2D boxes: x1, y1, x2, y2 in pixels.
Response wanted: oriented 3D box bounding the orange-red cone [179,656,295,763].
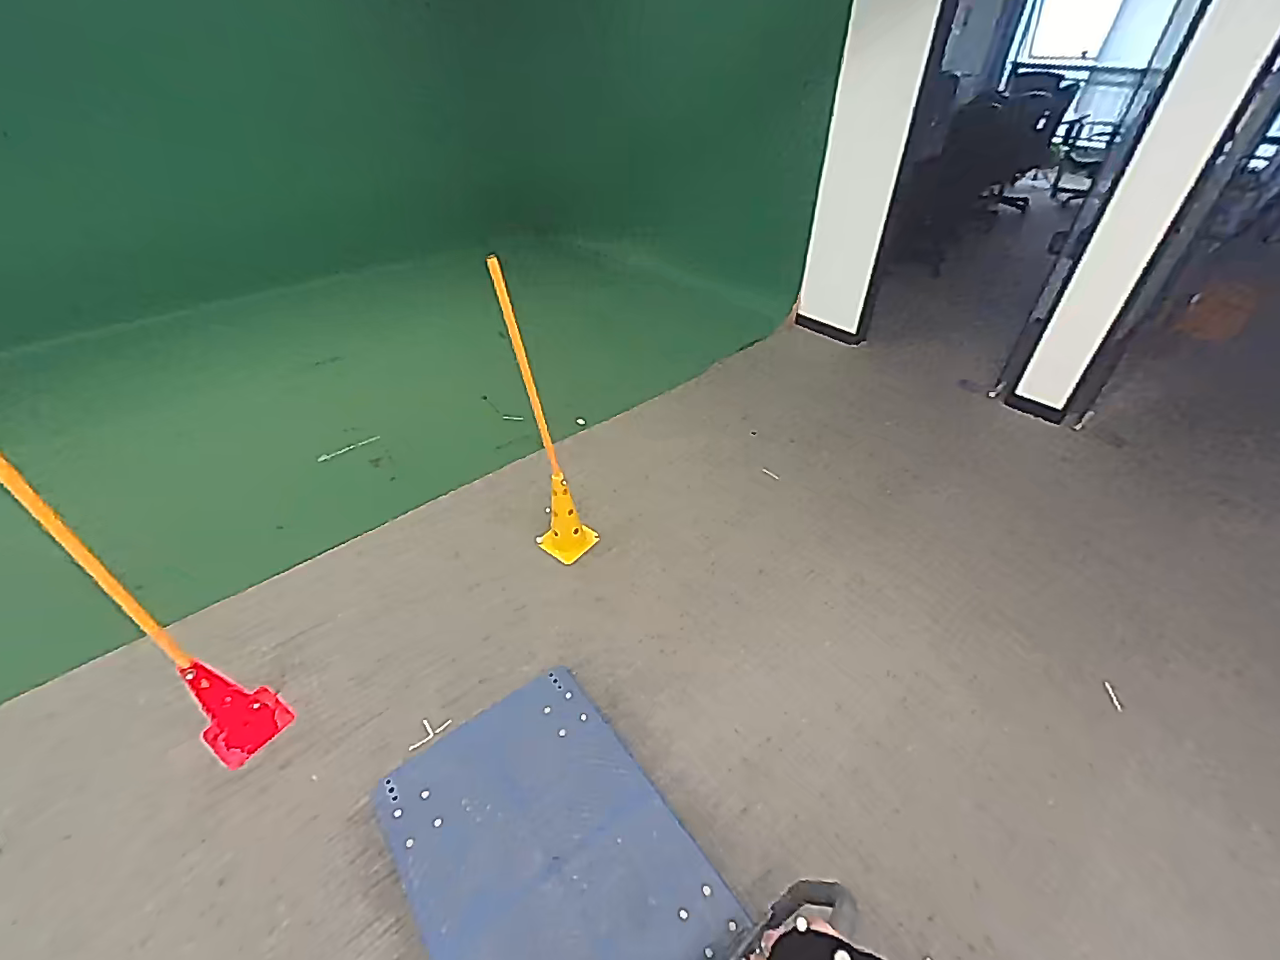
[{"bbox_3d":[-1.205,0.620,1.558,0.198,0.360,0.199,24,48,27],"label":"orange-red cone"}]
